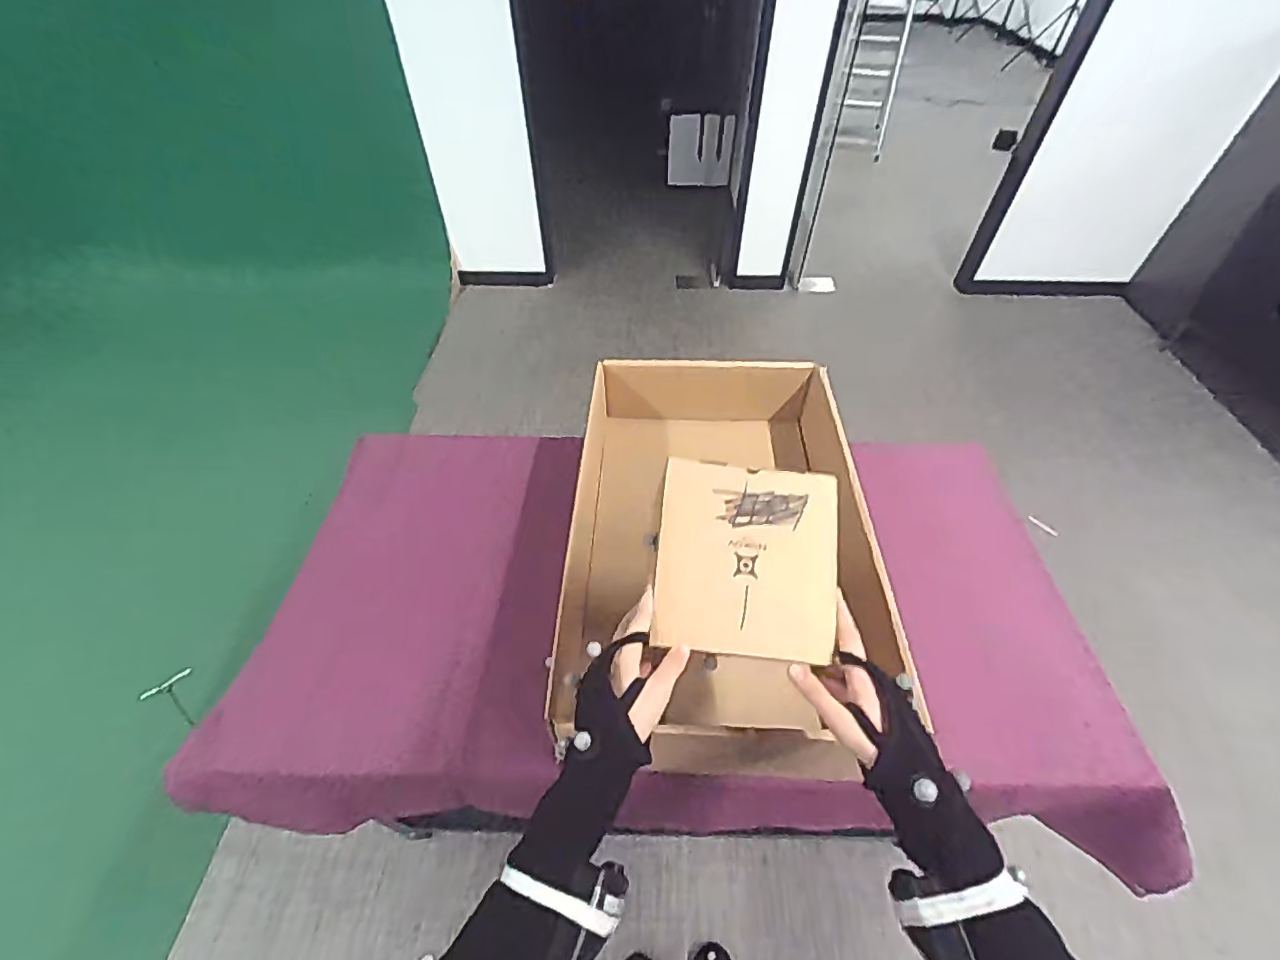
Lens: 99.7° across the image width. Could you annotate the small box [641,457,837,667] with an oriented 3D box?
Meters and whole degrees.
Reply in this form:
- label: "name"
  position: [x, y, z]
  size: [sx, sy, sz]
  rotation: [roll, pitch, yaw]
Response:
- label: "small box"
  position: [0.092, 0.093, 0.566]
  size: [0.168, 0.176, 0.179]
  rotation: [7, 73, -1]
